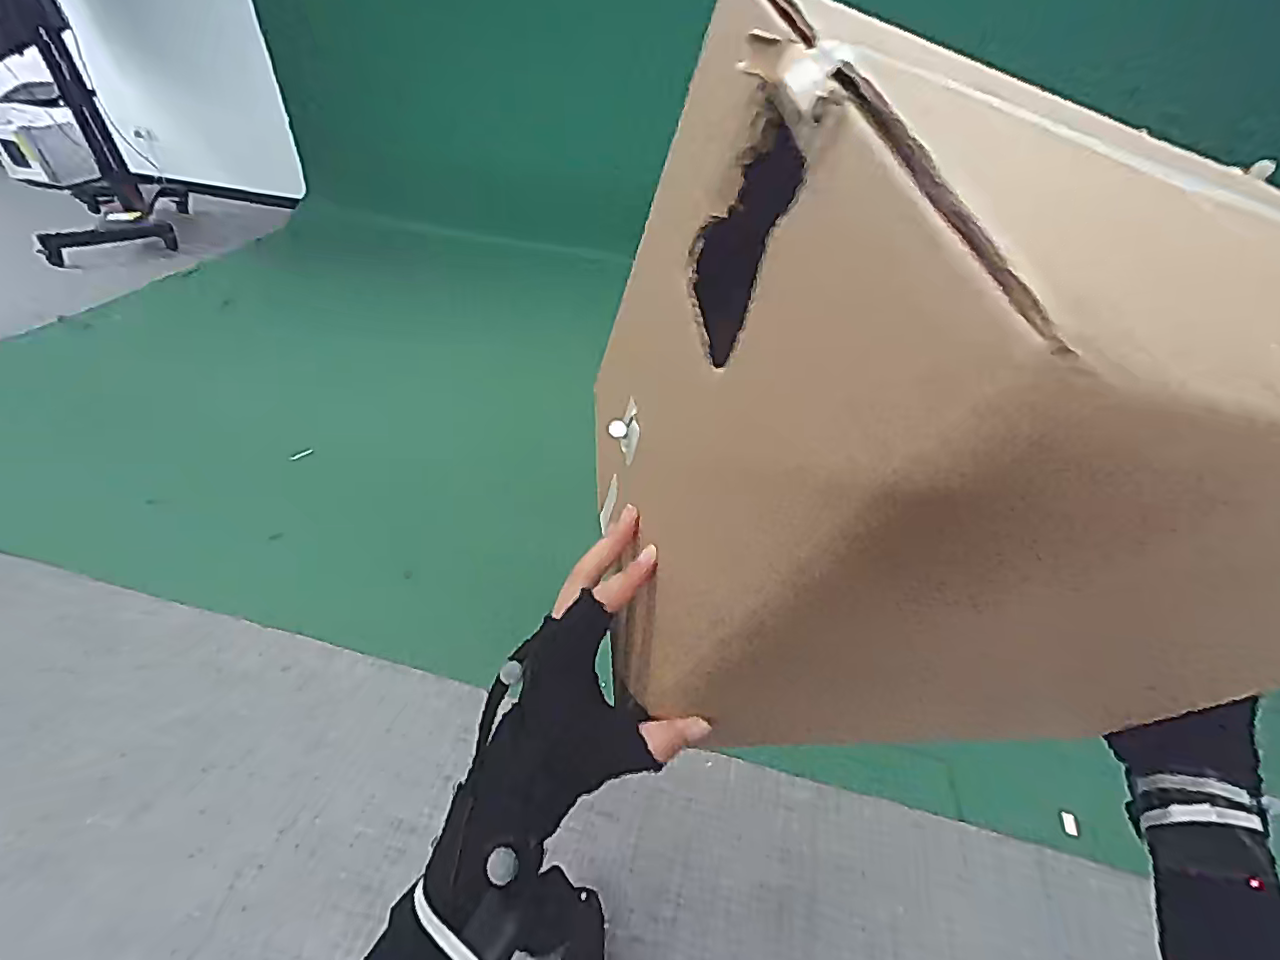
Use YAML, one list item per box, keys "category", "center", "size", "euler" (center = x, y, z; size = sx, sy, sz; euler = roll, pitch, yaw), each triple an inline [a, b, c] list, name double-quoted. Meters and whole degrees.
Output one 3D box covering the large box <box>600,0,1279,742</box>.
- category: "large box"
  center: [0.210, -0.029, 0.368]
  size: [0.408, 0.320, 0.320]
  euler: [7, 52, -18]
